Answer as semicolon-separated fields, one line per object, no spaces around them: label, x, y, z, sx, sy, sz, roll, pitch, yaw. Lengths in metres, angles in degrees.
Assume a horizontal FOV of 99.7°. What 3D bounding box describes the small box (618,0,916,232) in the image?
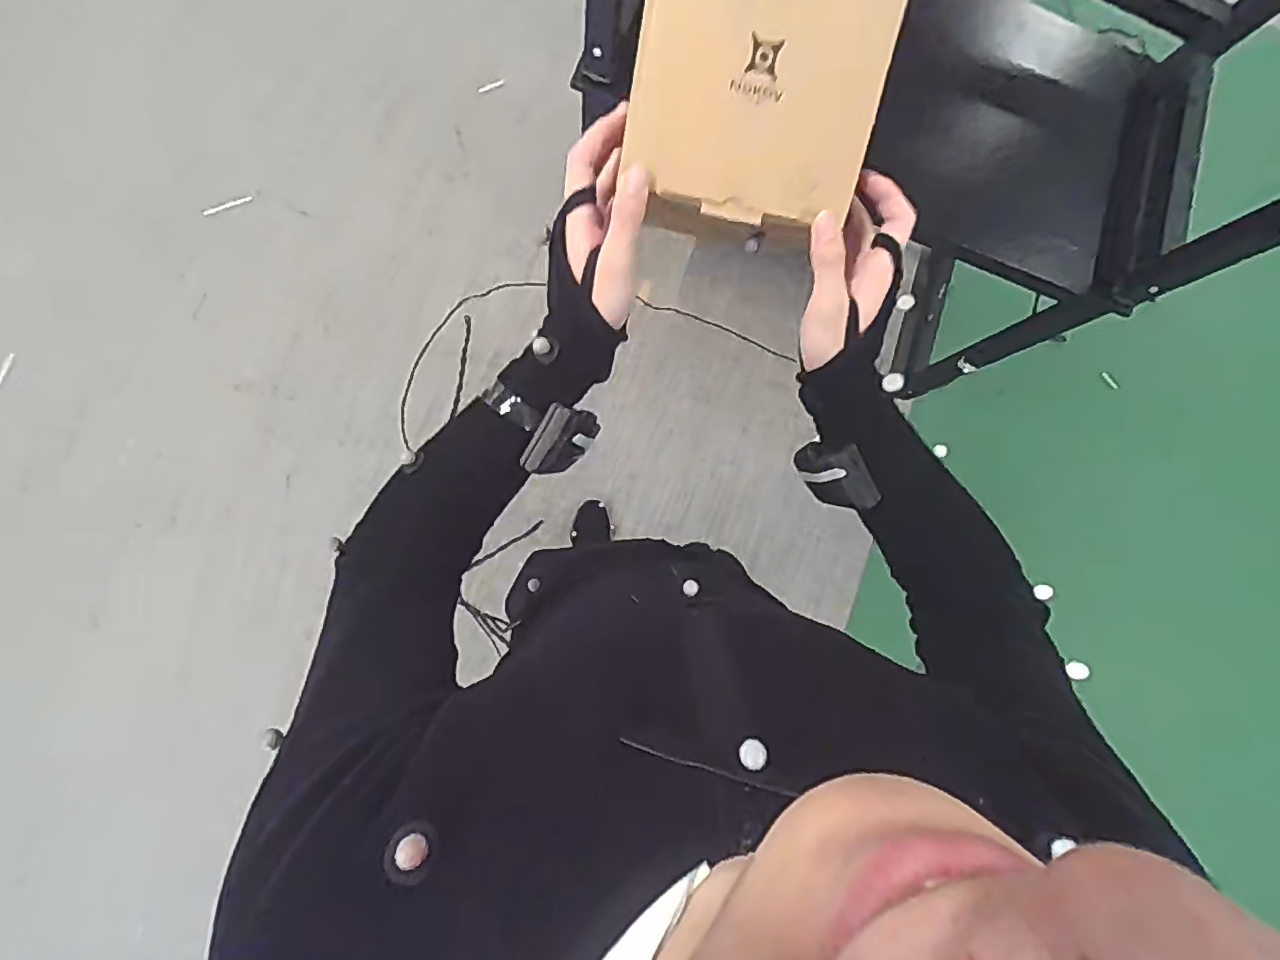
small box;0.080;-0.302;0.413;0.168;0.176;0.179;10;108;-6
